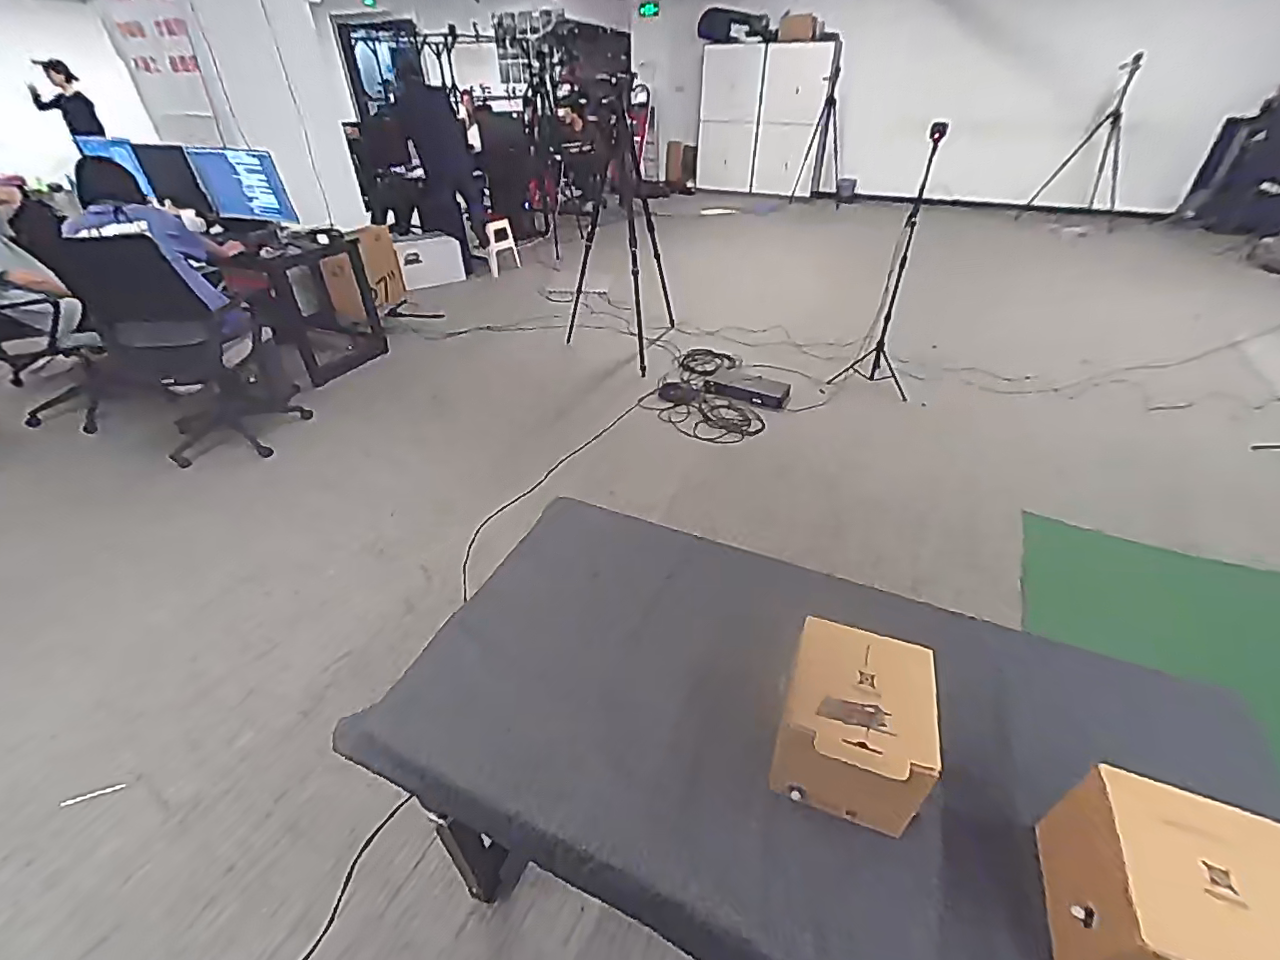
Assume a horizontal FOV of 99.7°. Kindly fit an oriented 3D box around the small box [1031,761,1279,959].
[{"bbox_3d":[0.543,0.442,0.560,0.168,0.176,0.179,14,38,18],"label":"small box"}]

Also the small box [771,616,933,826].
[{"bbox_3d":[0.278,0.321,0.726,0.168,0.176,0.179,13,38,17],"label":"small box"}]
